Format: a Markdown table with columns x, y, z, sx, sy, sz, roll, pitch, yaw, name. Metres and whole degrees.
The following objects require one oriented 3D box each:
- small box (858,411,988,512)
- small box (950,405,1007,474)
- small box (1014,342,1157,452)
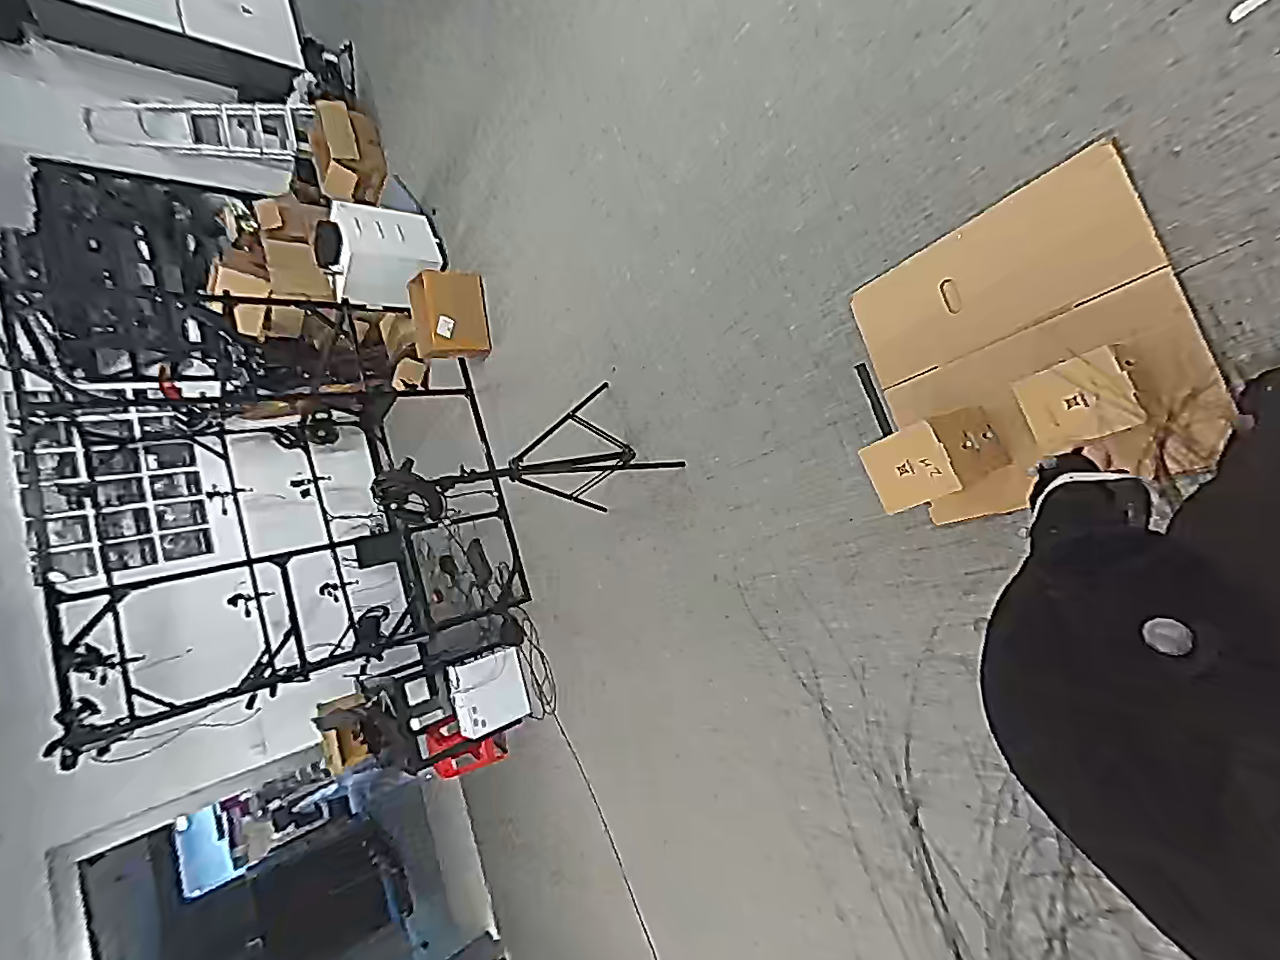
| x | y | z | sx | sy | sz | roll | pitch | yaw | name |
| --- | --- | --- | --- | --- | --- | --- | --- | --- | --- |
| 0.641 | -0.043 | 1.224 | 0.179 | 0.176 | 0.168 | -34 | 74 | 48 | small box |
| 0.764 | -0.073 | 1.328 | 0.179 | 0.176 | 0.168 | -36 | 71 | 47 | small box |
| 0.924 | -0.173 | 1.117 | 0.179 | 0.176 | 0.168 | -30 | 75 | 50 | small box |
